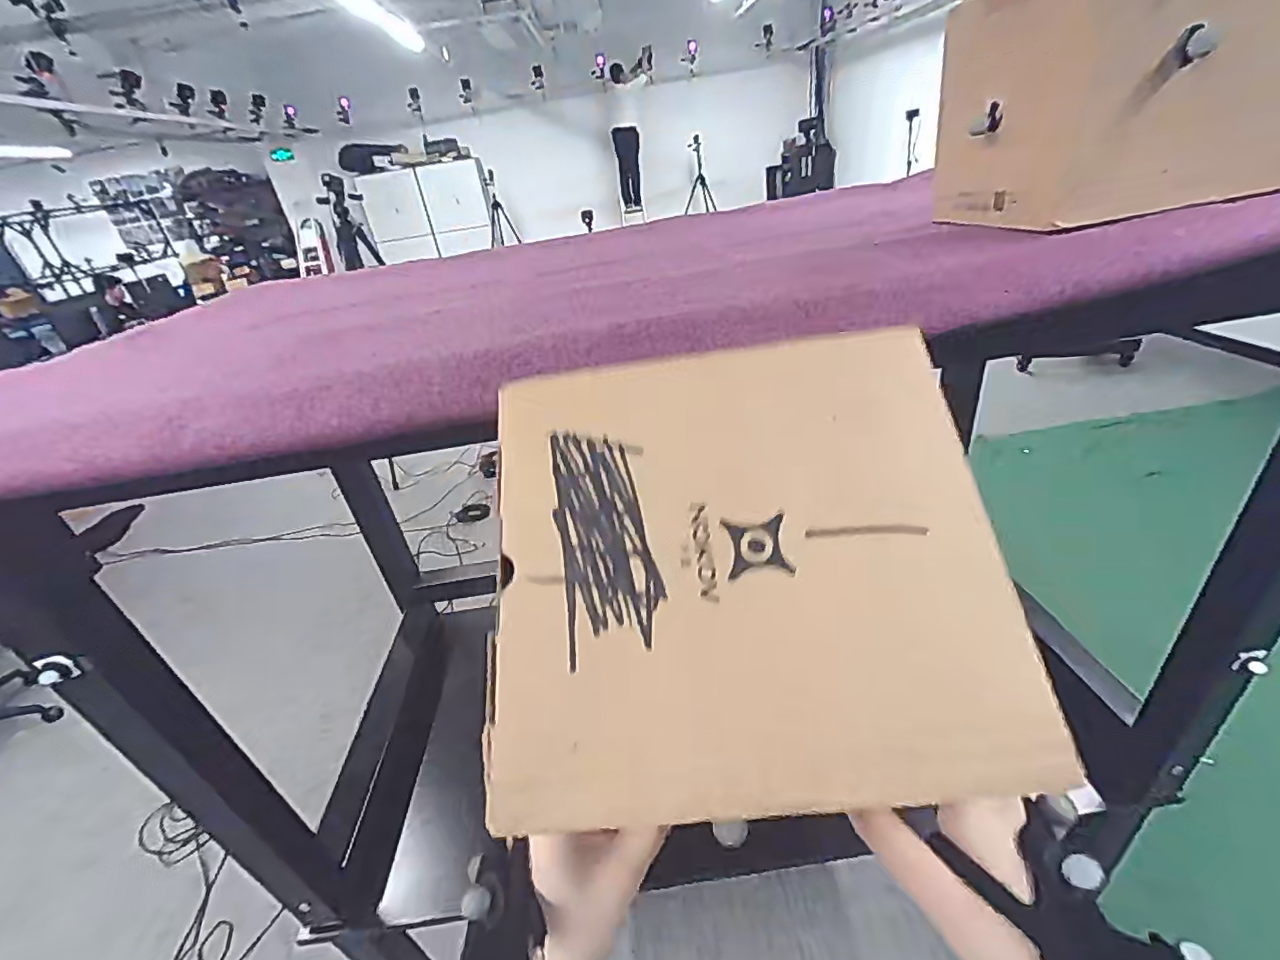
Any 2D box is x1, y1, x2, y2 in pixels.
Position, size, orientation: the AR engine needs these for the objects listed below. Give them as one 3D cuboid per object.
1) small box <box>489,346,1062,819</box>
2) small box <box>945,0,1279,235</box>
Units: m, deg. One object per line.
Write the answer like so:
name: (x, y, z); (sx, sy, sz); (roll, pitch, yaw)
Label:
small box: (0.044, 0.060, 0.269); (0.179, 0.176, 0.168); (-6, 65, 5)
small box: (0.361, -0.297, 0.418); (0.179, 0.176, 0.168); (-10, 29, 2)
